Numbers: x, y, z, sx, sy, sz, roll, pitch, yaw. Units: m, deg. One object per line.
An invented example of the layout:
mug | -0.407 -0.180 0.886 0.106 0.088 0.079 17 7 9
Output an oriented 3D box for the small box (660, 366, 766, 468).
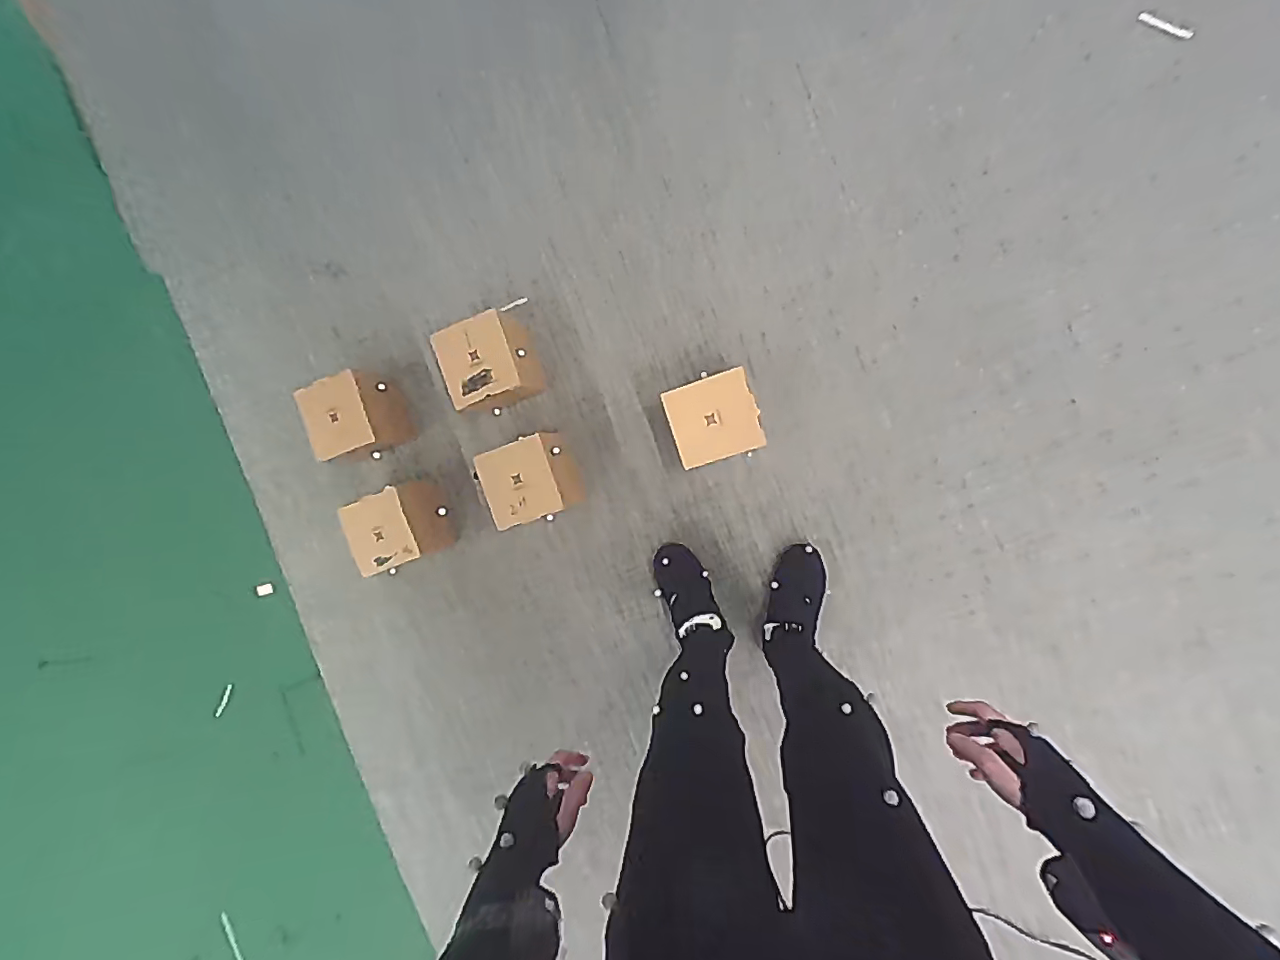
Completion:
small box | 0.161 -0.130 1.164 0.179 0.176 0.168 -19 92 12

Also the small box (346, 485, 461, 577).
small box | -0.573 0.117 1.329 0.168 0.176 0.179 -21 90 13

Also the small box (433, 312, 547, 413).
small box | -0.336 -0.261 1.246 0.168 0.176 0.179 -19 91 12

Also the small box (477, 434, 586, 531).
small box | -0.244 0.001 1.254 0.168 0.176 0.179 -19 92 12
